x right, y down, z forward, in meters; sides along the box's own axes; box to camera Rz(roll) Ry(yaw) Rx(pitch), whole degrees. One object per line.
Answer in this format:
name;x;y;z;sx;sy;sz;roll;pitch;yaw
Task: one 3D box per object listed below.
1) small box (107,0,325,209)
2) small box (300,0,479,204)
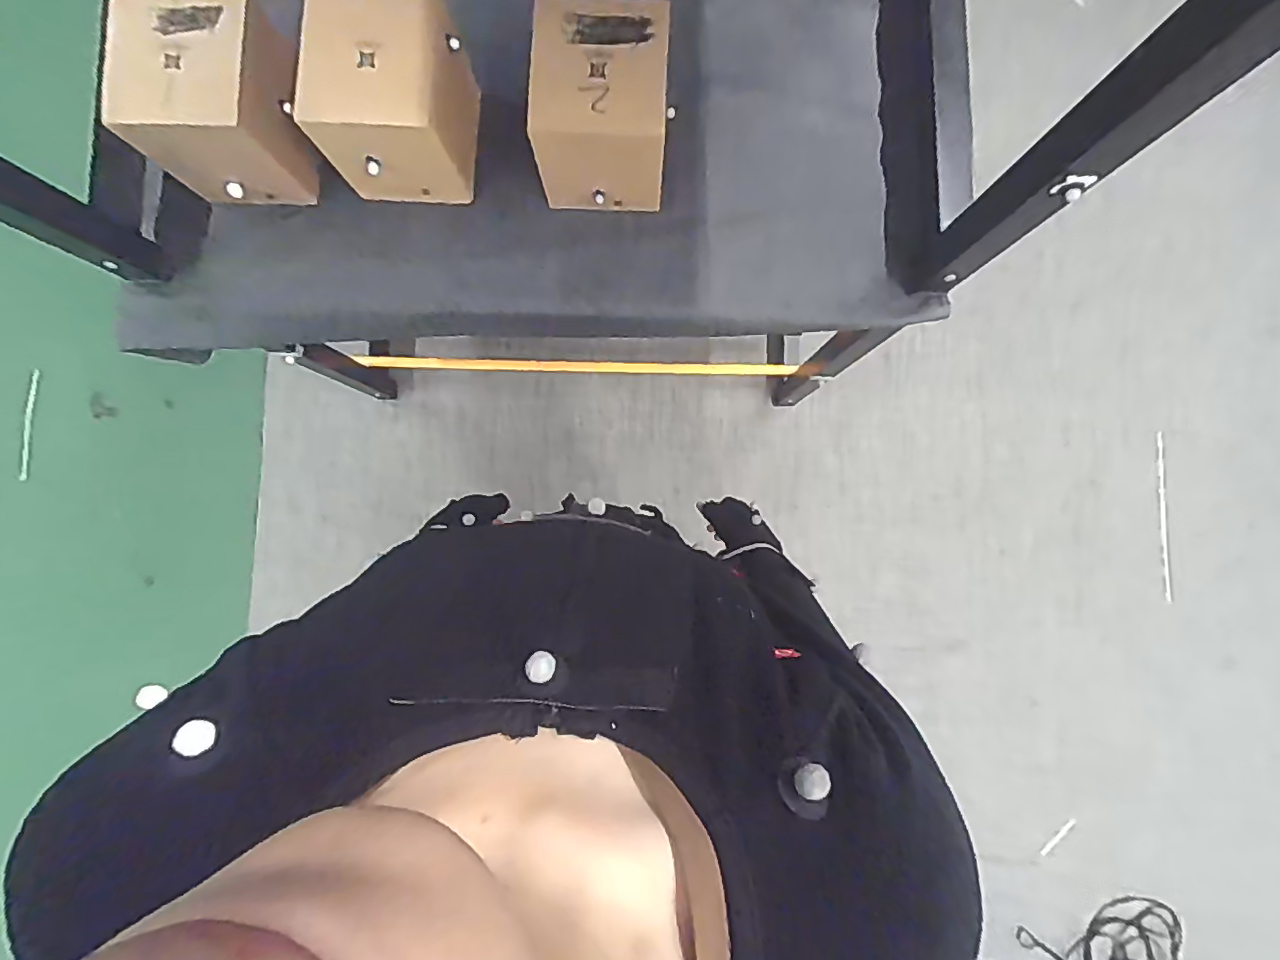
small box;-0.554;-0.500;0.733;0.168;0.176;0.179;1;86;0
small box;-0.327;-0.504;0.737;0.168;0.176;0.179;2;85;0
